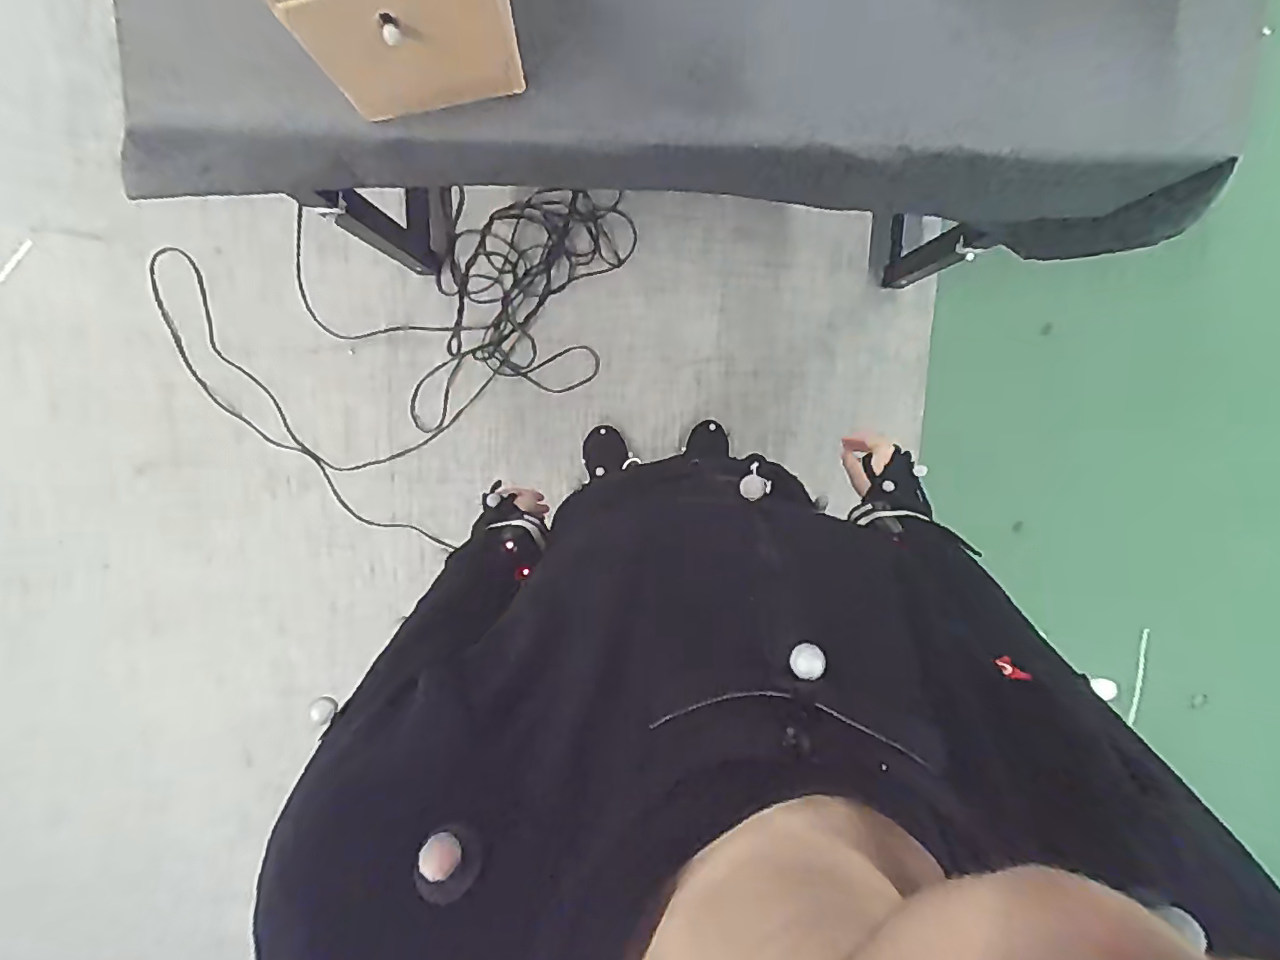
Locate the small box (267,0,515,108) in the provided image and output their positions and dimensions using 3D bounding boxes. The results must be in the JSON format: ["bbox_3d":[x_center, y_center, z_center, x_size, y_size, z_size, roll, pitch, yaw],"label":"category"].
[{"bbox_3d":[-0.219,-0.472,0.480,0.179,0.176,0.168,-10,97,1],"label":"small box"}]
